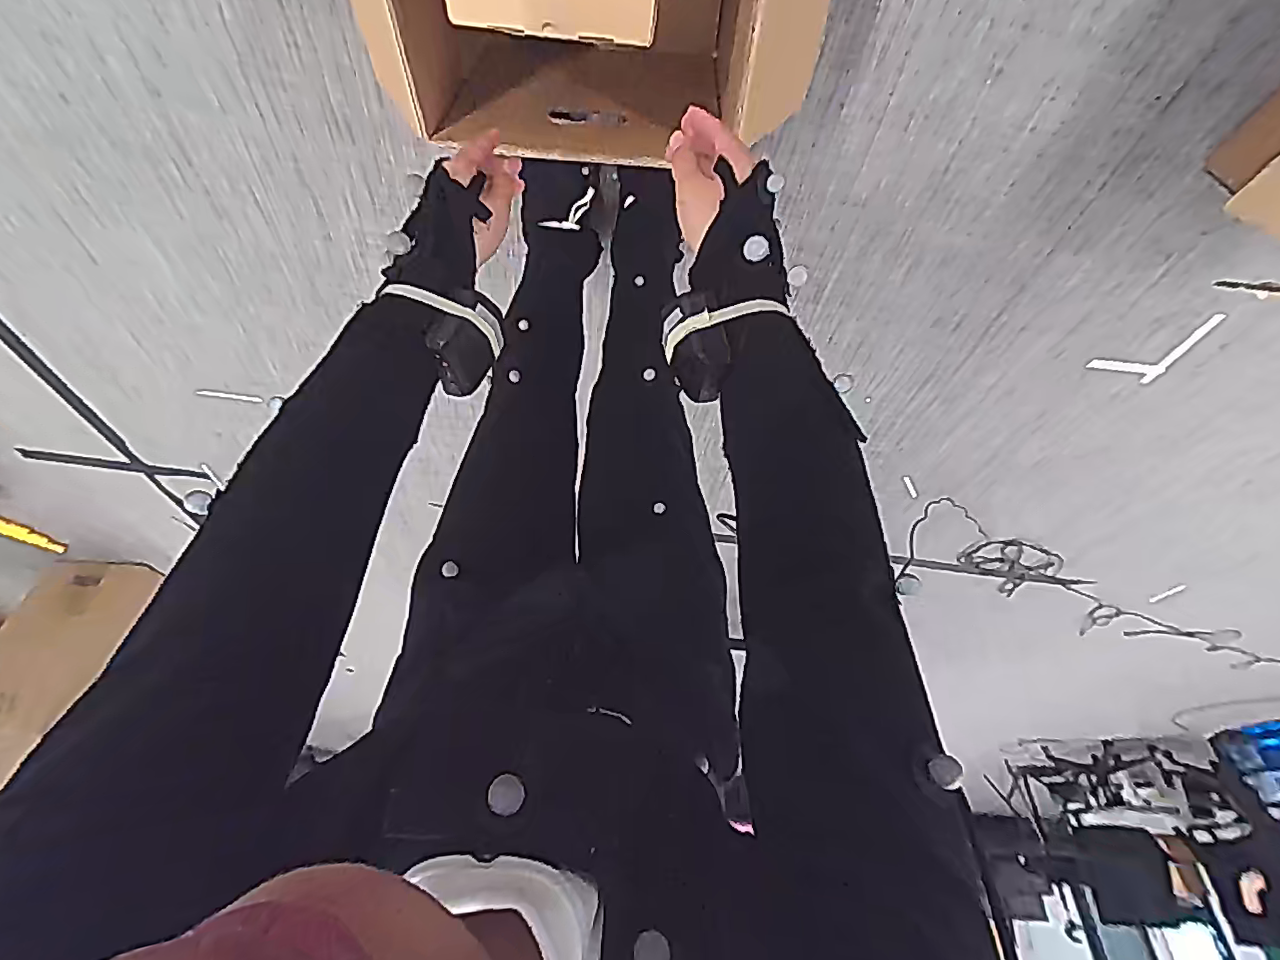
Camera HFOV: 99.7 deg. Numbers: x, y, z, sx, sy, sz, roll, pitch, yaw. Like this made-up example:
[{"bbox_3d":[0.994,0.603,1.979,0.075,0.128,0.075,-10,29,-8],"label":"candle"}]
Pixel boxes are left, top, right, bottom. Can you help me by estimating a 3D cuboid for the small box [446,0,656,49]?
[{"bbox_3d":[-0.061,-0.474,0.416,0.168,0.176,0.179,5,144,-2],"label":"small box"}]
